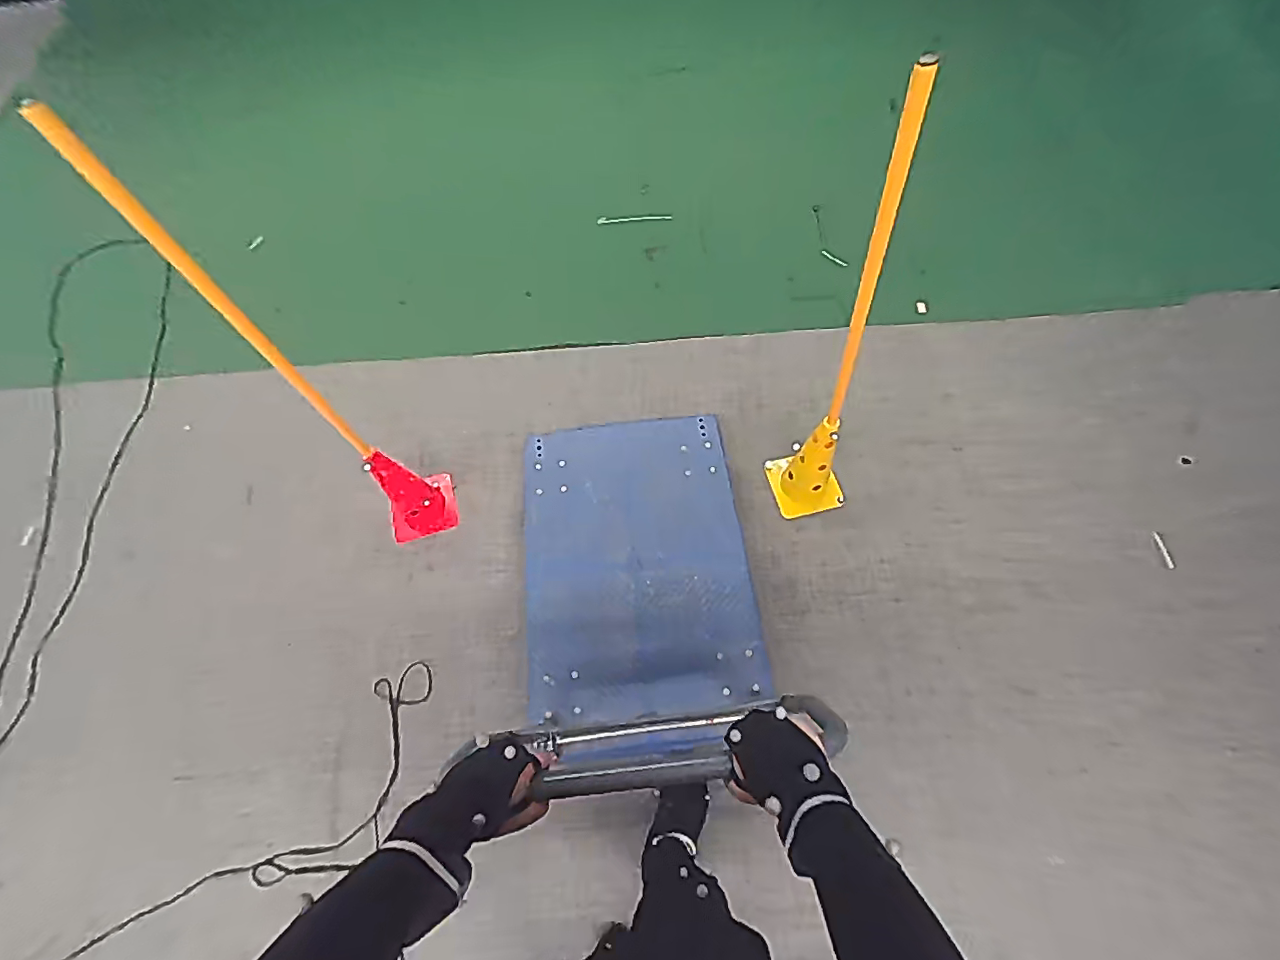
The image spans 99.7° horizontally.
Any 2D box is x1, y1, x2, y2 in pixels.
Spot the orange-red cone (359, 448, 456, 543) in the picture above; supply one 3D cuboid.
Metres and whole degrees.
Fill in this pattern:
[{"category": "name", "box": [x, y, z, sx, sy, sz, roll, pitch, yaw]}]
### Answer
[{"category": "orange-red cone", "box": [-0.691, 0.012, 1.535, 0.199, 0.360, 0.198, -17, 63, -4]}]
